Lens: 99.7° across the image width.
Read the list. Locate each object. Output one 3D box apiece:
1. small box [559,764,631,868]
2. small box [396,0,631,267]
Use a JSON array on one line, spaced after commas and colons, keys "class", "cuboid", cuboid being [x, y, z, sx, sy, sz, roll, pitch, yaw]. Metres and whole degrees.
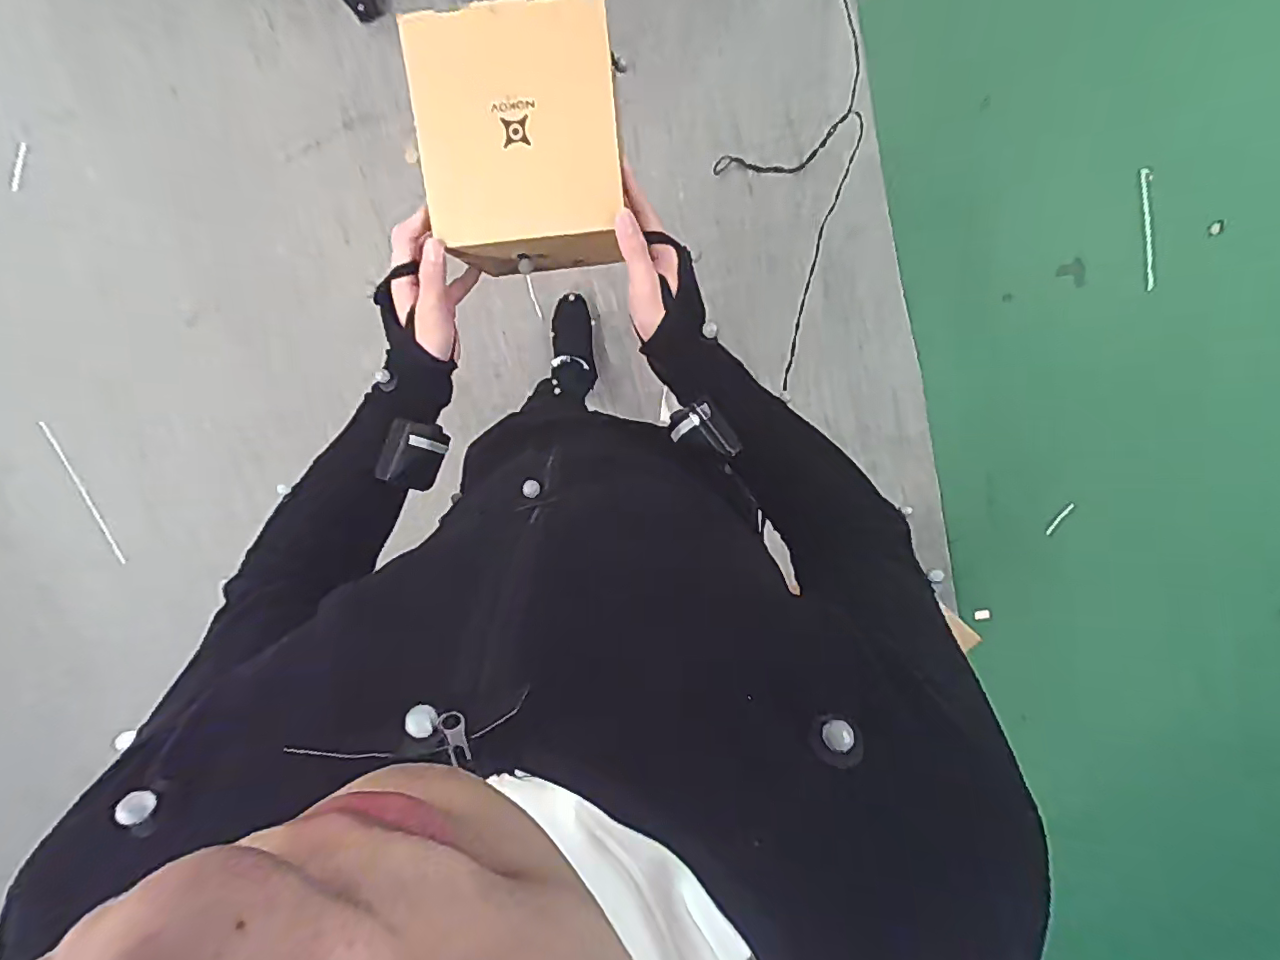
[{"class": "small box", "cuboid": [-0.115, 0.884, 1.440, 0.168, 0.176, 0.179, -6, 102, 2]}, {"class": "small box", "cuboid": [-0.099, -0.308, 0.512, 0.168, 0.176, 0.179, -5, 101, 3]}]
